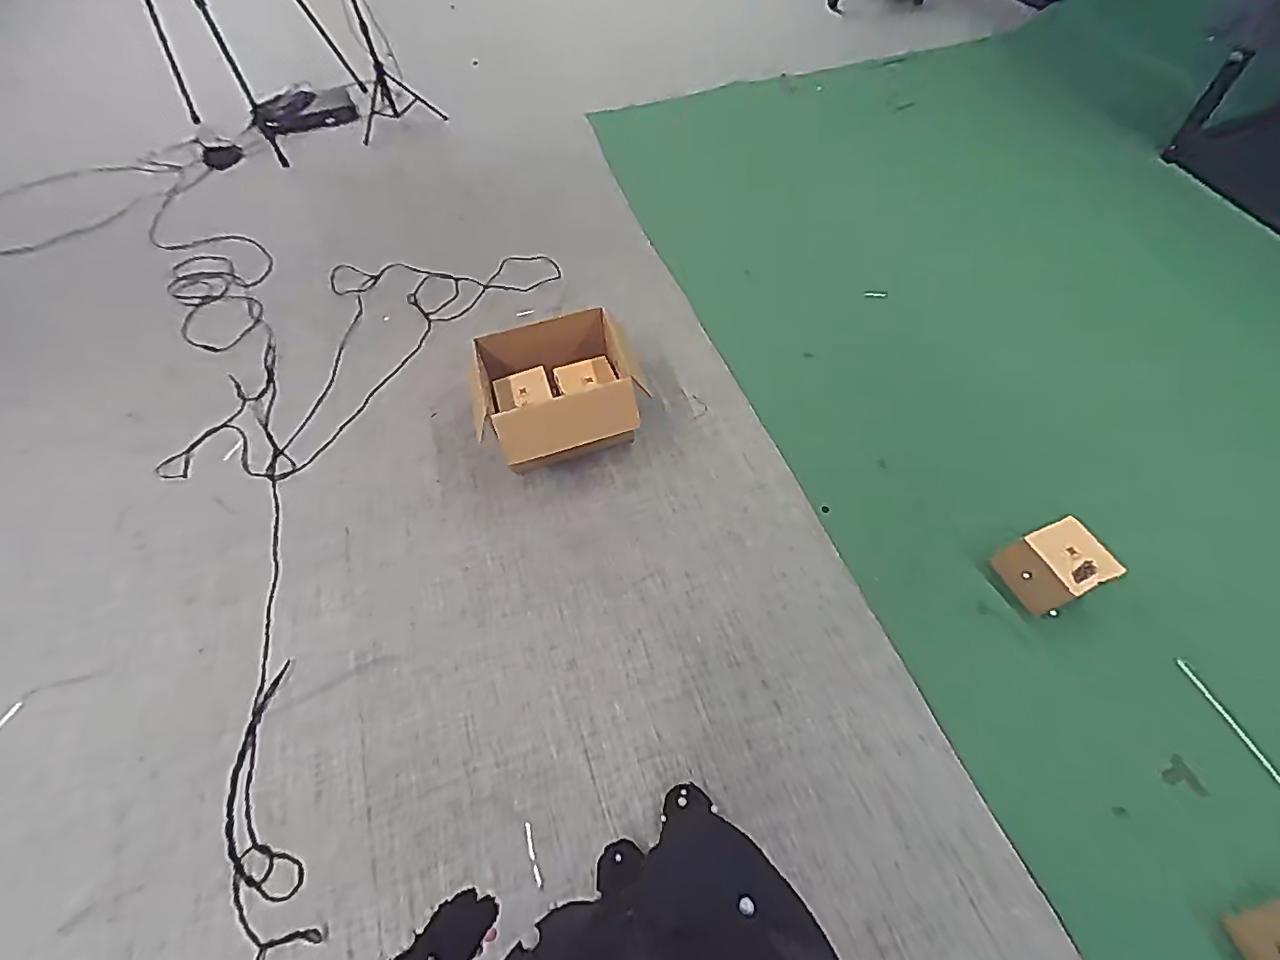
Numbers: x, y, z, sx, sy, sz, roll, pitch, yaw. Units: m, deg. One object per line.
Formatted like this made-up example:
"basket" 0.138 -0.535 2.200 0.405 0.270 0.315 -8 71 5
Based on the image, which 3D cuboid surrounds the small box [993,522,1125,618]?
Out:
"small box" 1.083 0.244 1.415 0.168 0.176 0.179 -20 59 -10
